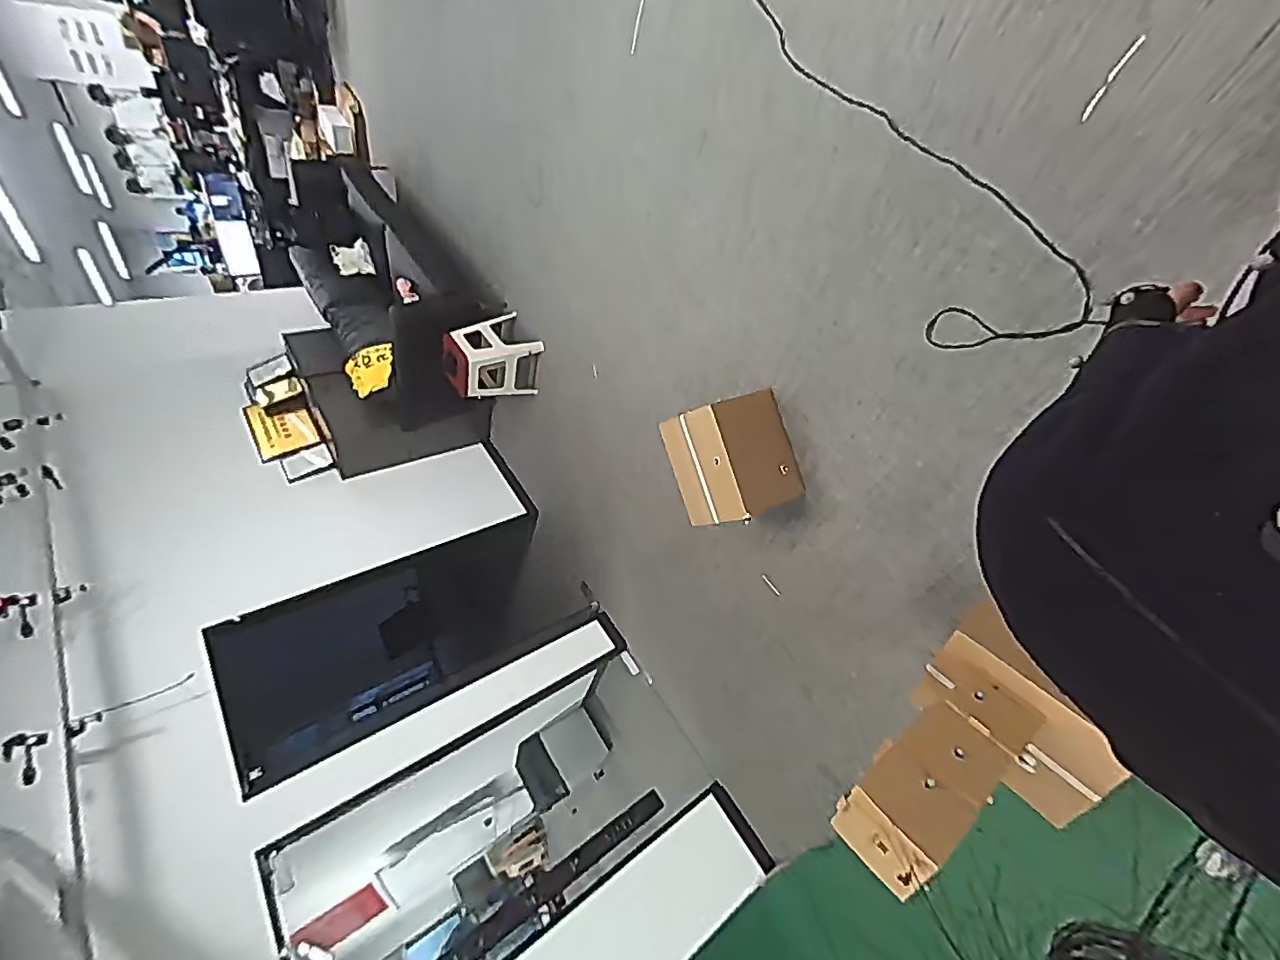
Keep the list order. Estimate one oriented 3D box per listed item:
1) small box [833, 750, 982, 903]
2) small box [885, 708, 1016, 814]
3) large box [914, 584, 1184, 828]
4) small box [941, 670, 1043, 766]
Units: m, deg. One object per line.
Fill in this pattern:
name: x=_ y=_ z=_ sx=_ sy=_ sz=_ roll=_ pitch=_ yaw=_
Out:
small box: x=0.525 y=0.671 z=1.071 sx=0.179 sy=0.176 sz=0.168 roll=42 pitch=137 yaw=38
small box: x=0.654 y=0.622 z=1.161 sx=0.179 sy=0.176 sz=0.168 roll=40 pitch=136 yaw=38
large box: x=1.002 y=0.540 z=1.363 sx=0.408 sy=0.320 sz=0.320 roll=39 pitch=137 yaw=37
small box: x=0.786 y=0.576 z=1.247 sx=0.168 sy=0.176 sz=0.179 roll=41 pitch=137 yaw=37
